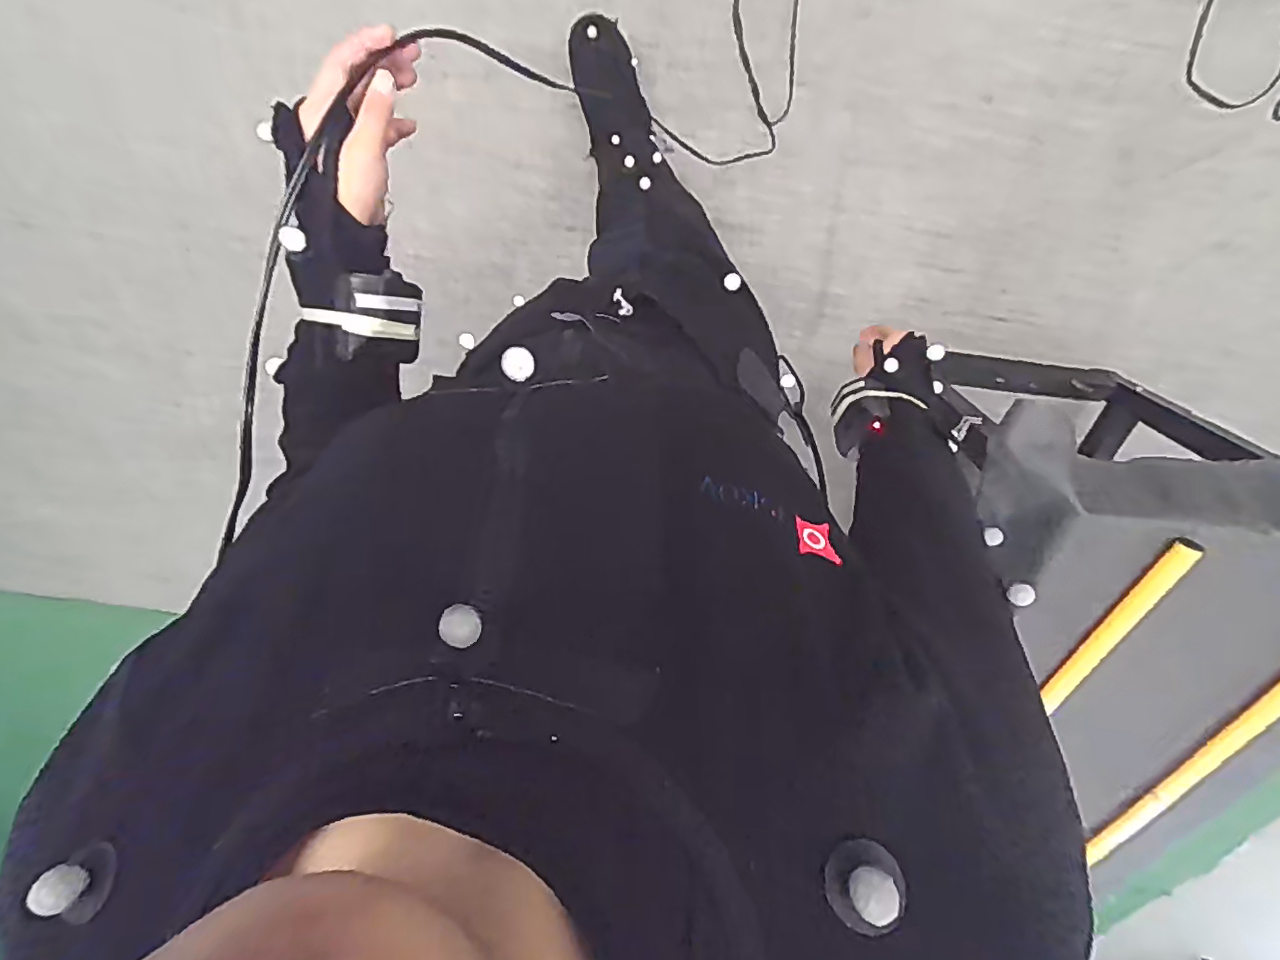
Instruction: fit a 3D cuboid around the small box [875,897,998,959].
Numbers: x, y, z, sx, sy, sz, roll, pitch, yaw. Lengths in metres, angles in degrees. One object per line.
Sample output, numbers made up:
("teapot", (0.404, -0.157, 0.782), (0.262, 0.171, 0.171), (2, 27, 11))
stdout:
("small box", (0.633, 1.023, 1.152), (0.179, 0.176, 0.168), (8, 121, -3))
